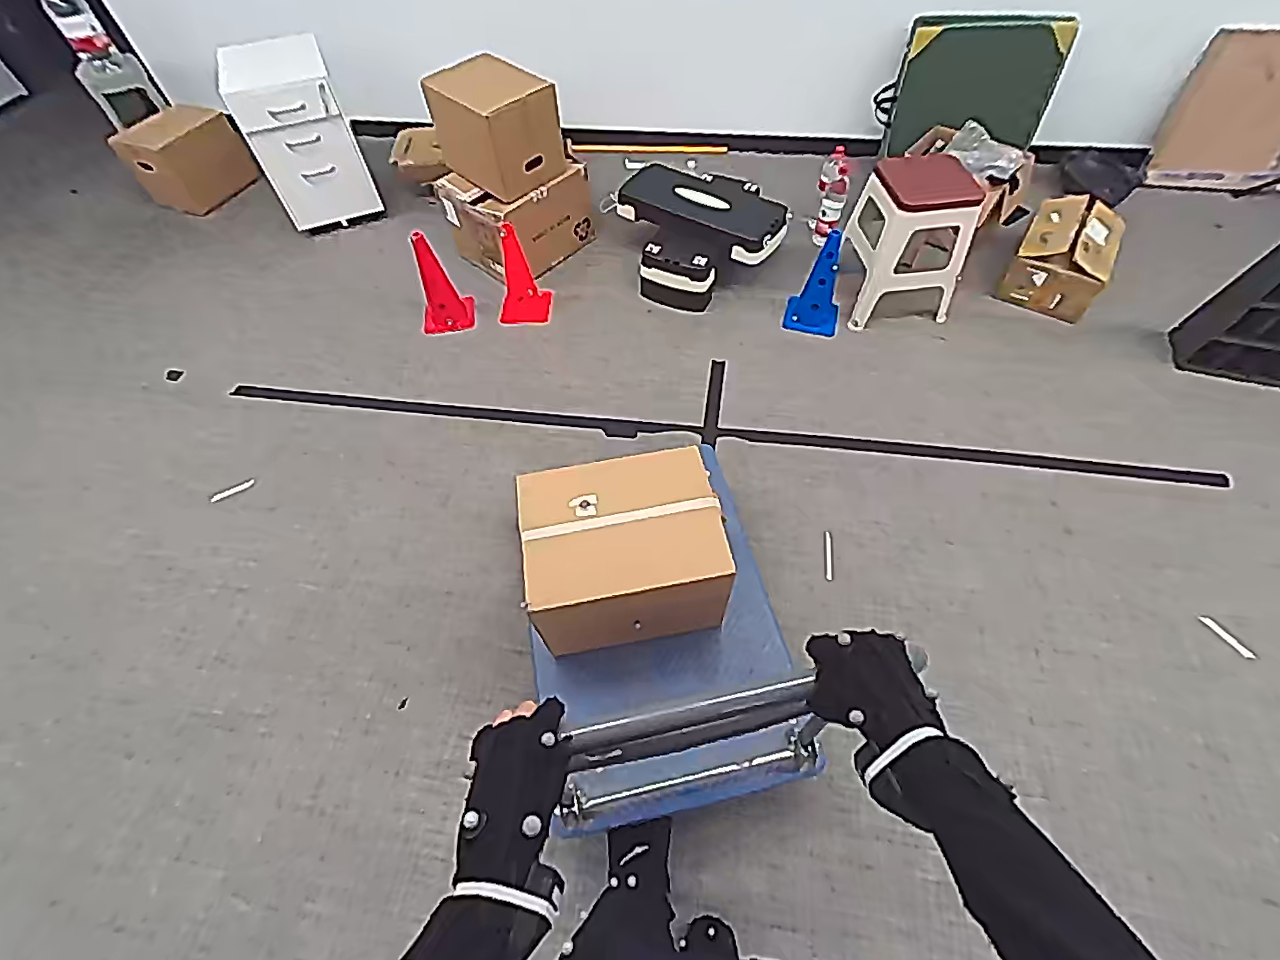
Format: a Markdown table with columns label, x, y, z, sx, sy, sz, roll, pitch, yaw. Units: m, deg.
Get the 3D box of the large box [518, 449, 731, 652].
| label | x | y | z | sx | sy | sz | roll | pitch | yaw |
| --- | --- | --- | --- | --- | --- | --- | --- | --- | --- |
| large box | -0.036 | 0.170 | 1.239 | 0.408 | 0.320 | 0.320 | -10 | 57 | -3 |
